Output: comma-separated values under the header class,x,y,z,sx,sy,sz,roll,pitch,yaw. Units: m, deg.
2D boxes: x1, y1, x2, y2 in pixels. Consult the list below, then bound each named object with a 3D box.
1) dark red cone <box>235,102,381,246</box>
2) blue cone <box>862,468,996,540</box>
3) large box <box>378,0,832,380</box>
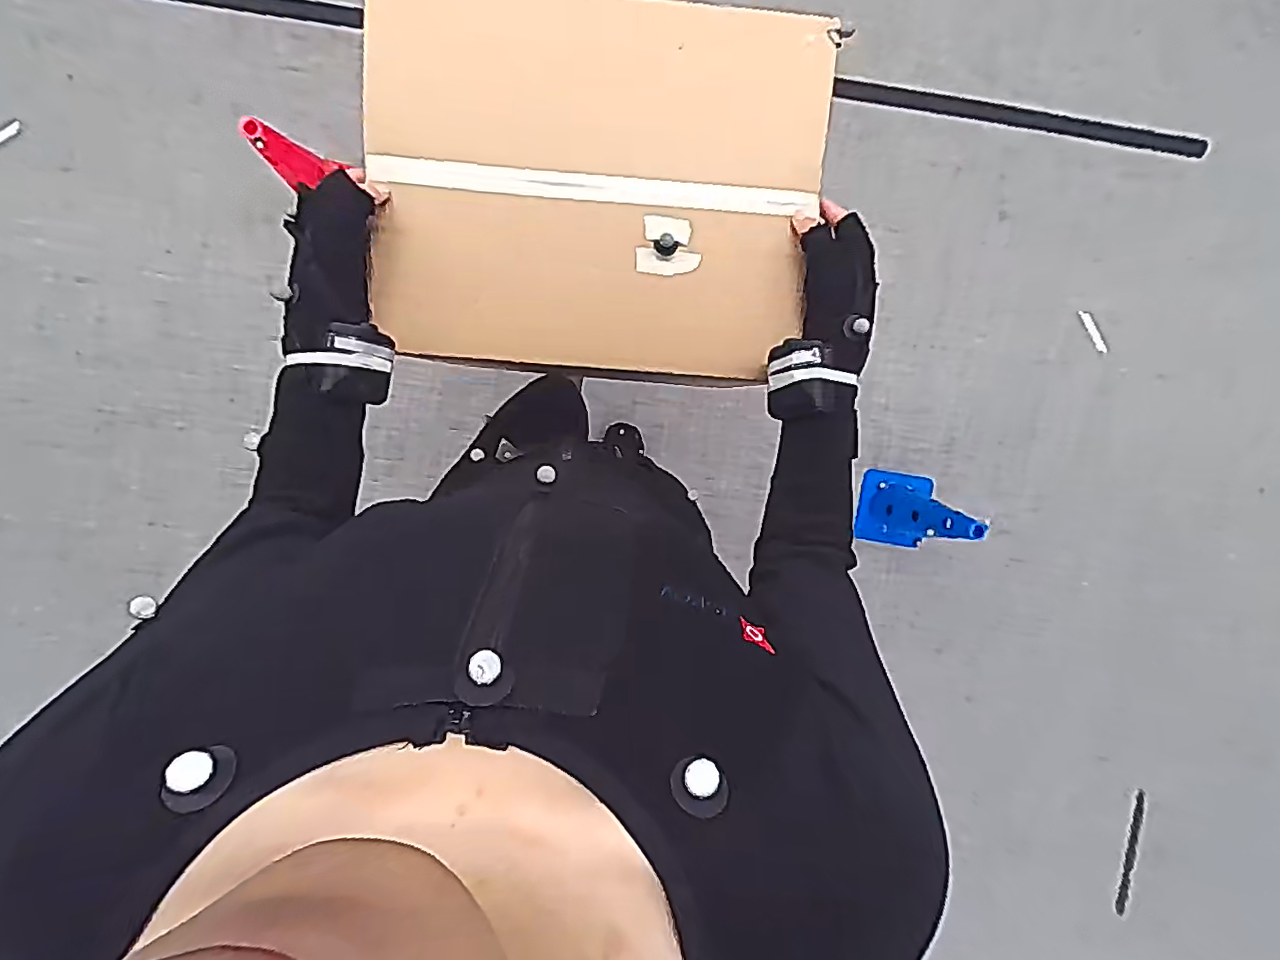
class,x,y,z,sx,sy,sz,roll,pitch,yaw
dark red cone,-0.744,-0.693,1.192,0.201,0.394,0.202,13,94,-4
blue cone,0.728,0.082,1.344,0.192,0.380,0.193,11,95,-4
large box,-0.042,-0.290,0.638,0.408,0.320,0.320,3,99,-3
